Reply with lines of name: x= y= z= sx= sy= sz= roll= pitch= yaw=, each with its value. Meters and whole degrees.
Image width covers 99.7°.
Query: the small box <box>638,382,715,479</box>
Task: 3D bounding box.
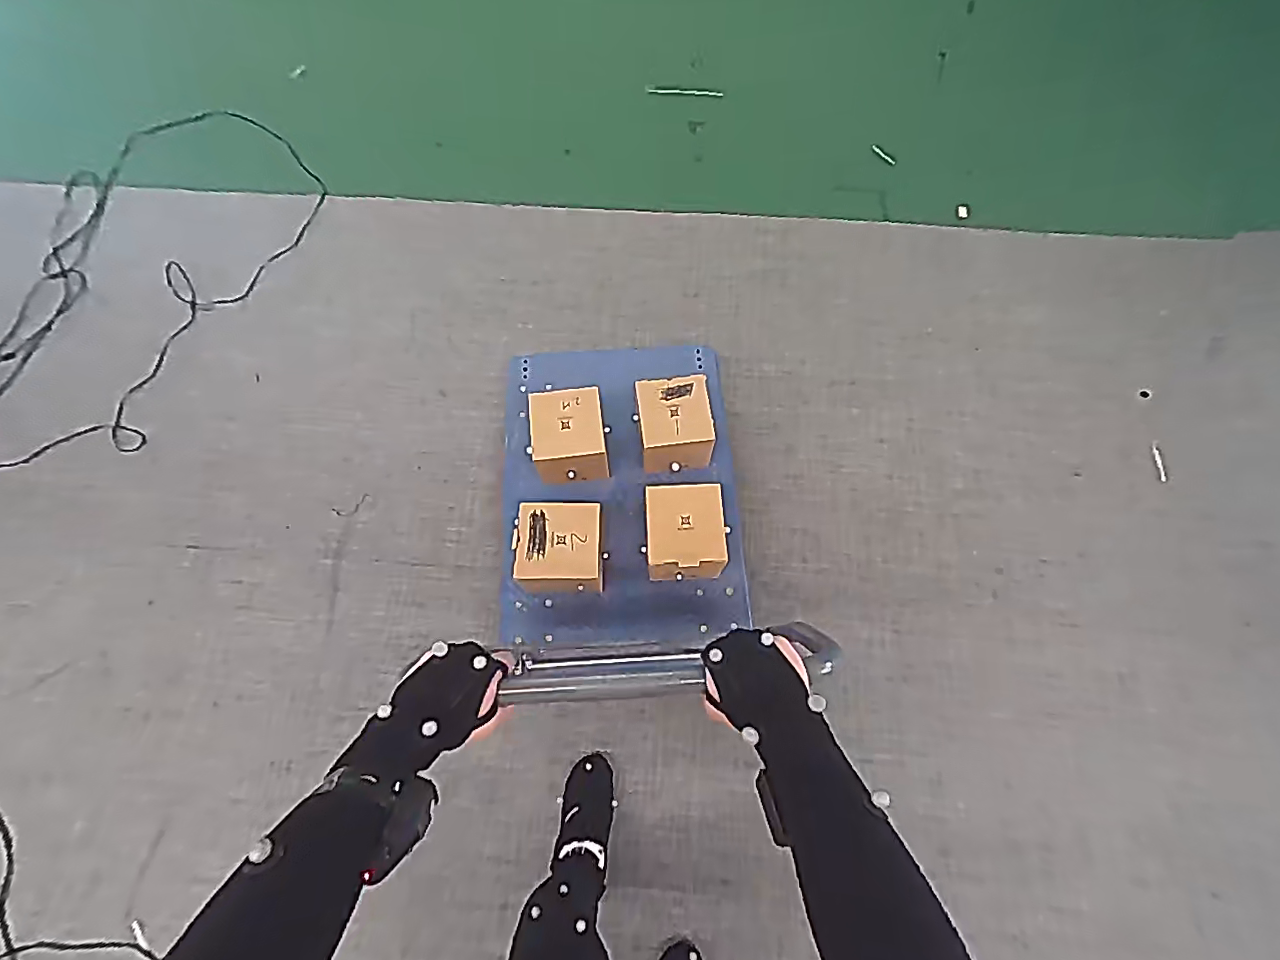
small box: x=0.083 y=-0.118 z=1.342 sx=0.168 sy=0.176 sz=0.179 roll=-7 pitch=69 yaw=-1

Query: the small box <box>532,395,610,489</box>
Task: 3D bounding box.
small box: x=-0.167 y=-0.086 z=1.332 sx=0.168 sy=0.176 sz=0.179 roll=-7 pitch=68 yaw=-3

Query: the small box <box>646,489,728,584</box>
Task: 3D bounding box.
small box: x=0.101 y=0.133 z=1.242 sx=0.168 sy=0.176 sz=0.179 roll=-3 pitch=69 yaw=-1
